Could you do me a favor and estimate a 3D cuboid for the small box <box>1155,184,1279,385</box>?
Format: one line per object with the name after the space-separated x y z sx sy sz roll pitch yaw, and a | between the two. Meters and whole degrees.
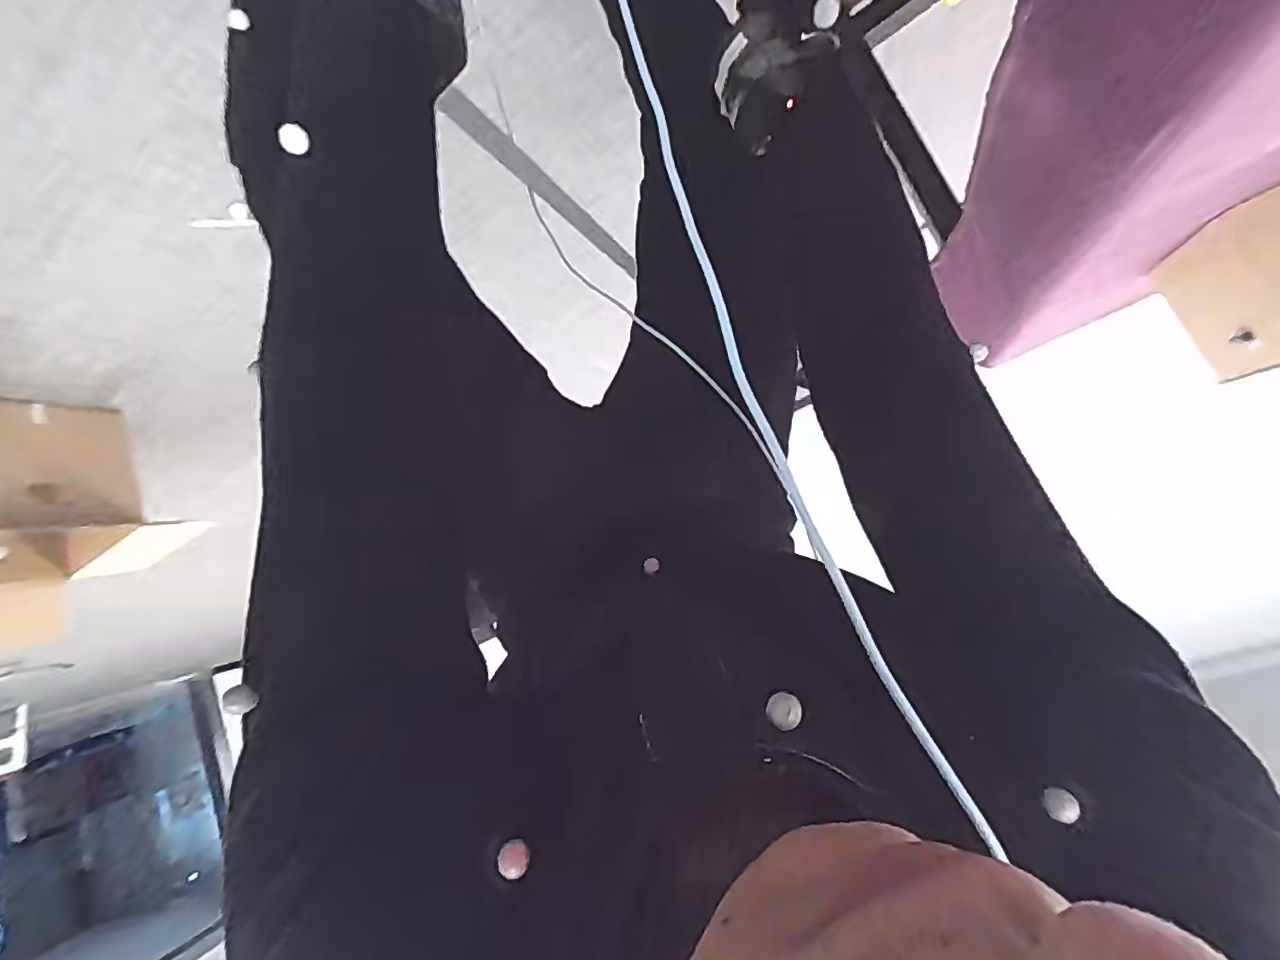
0.711 -0.225 0.572 0.168 0.176 0.179 -26 169 22 | small box
